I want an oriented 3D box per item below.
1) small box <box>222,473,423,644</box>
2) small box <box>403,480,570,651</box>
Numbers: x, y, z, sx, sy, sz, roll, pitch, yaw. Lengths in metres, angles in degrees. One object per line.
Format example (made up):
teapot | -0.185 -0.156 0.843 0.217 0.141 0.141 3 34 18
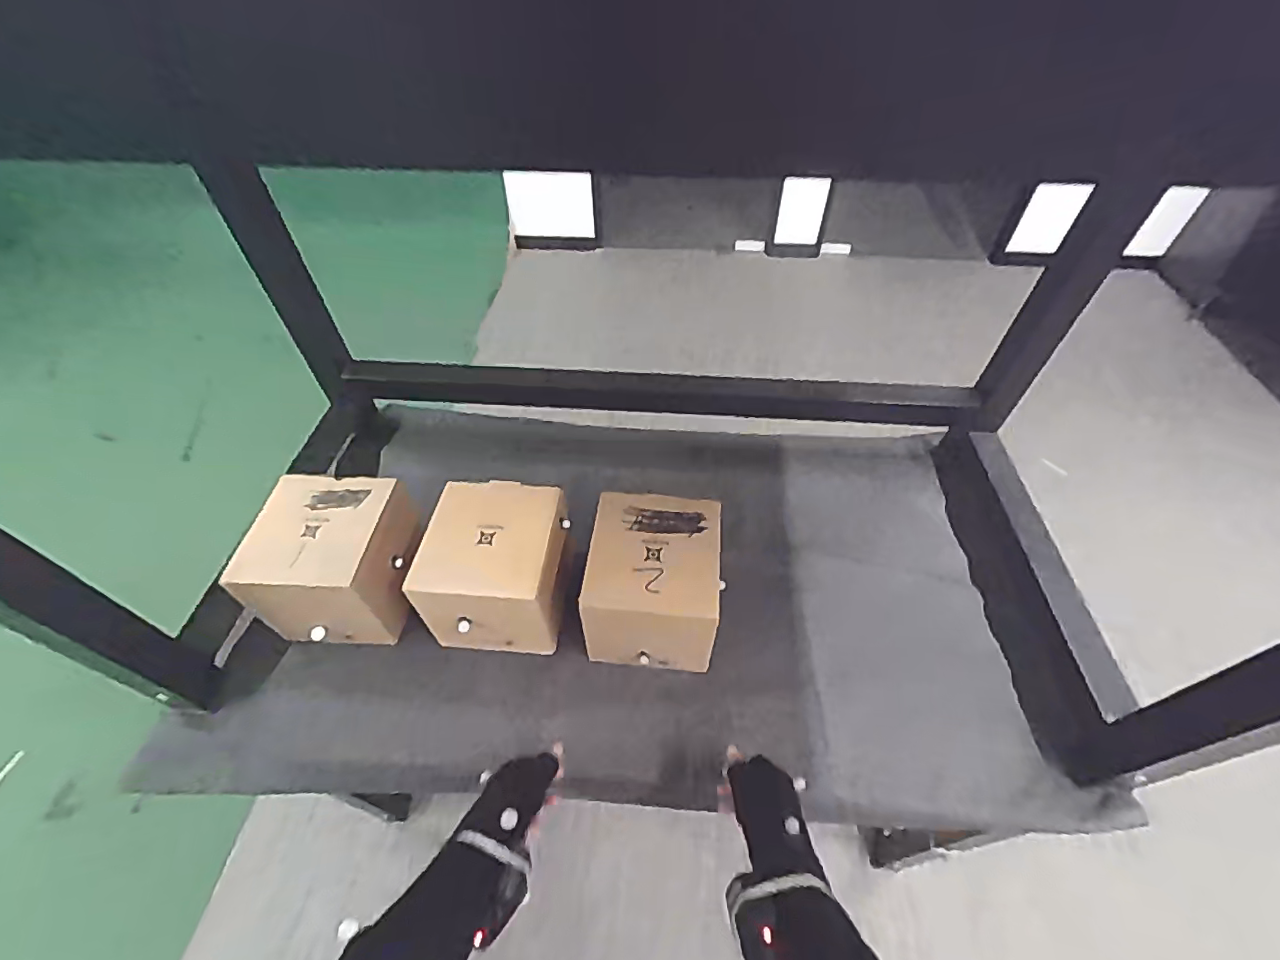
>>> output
small box | -0.423 0.111 0.767 0.168 0.176 0.179 2 49 2
small box | -0.197 0.122 0.759 0.168 0.176 0.179 4 48 3
